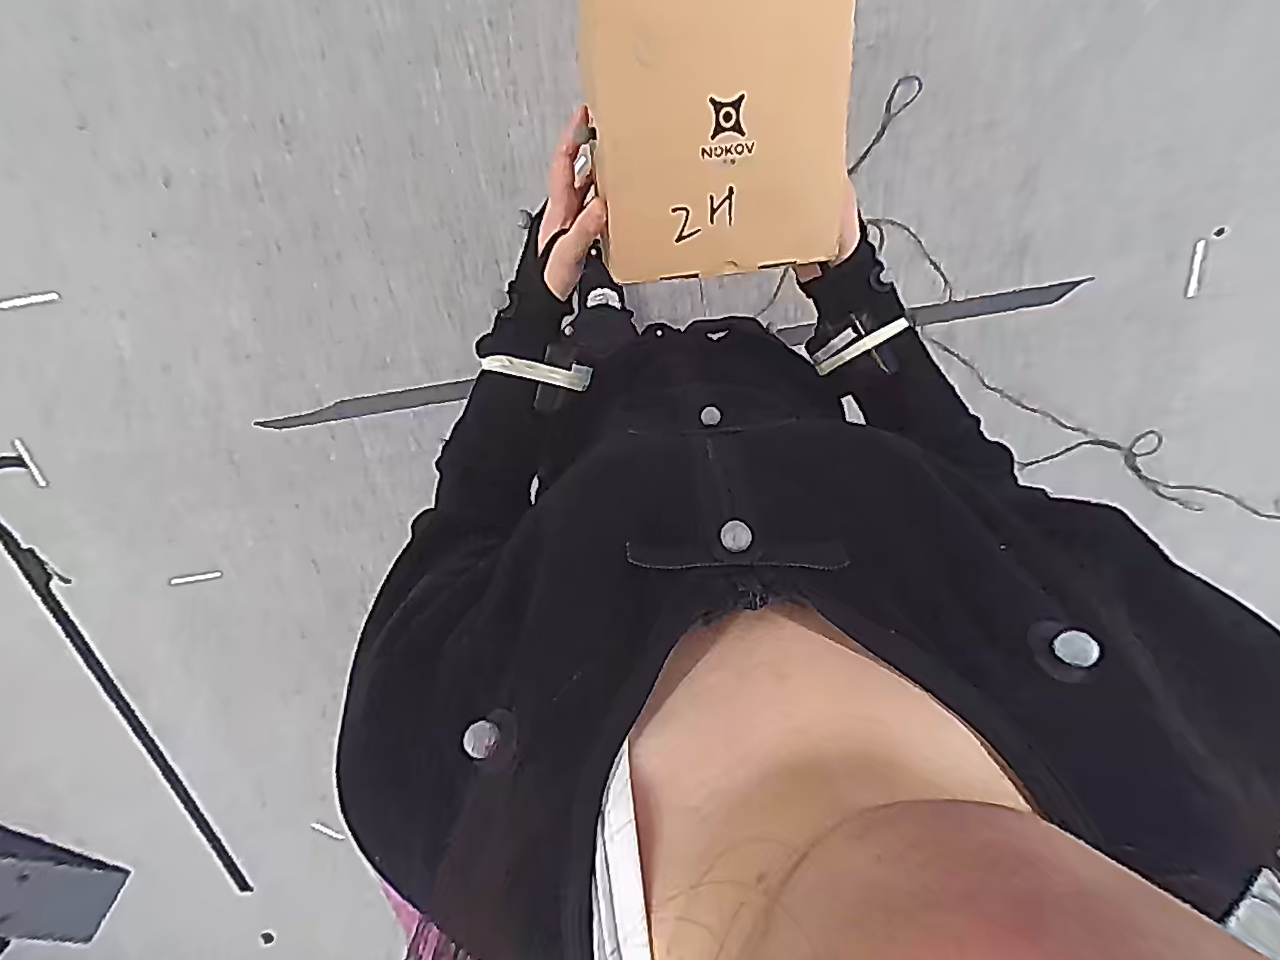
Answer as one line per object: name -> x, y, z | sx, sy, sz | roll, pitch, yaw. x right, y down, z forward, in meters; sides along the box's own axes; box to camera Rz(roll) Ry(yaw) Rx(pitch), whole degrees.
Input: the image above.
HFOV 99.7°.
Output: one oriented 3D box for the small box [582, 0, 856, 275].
small box -> 0.047, -0.268, 0.424 | 0.168, 0.176, 0.179 | -8, 118, -3
